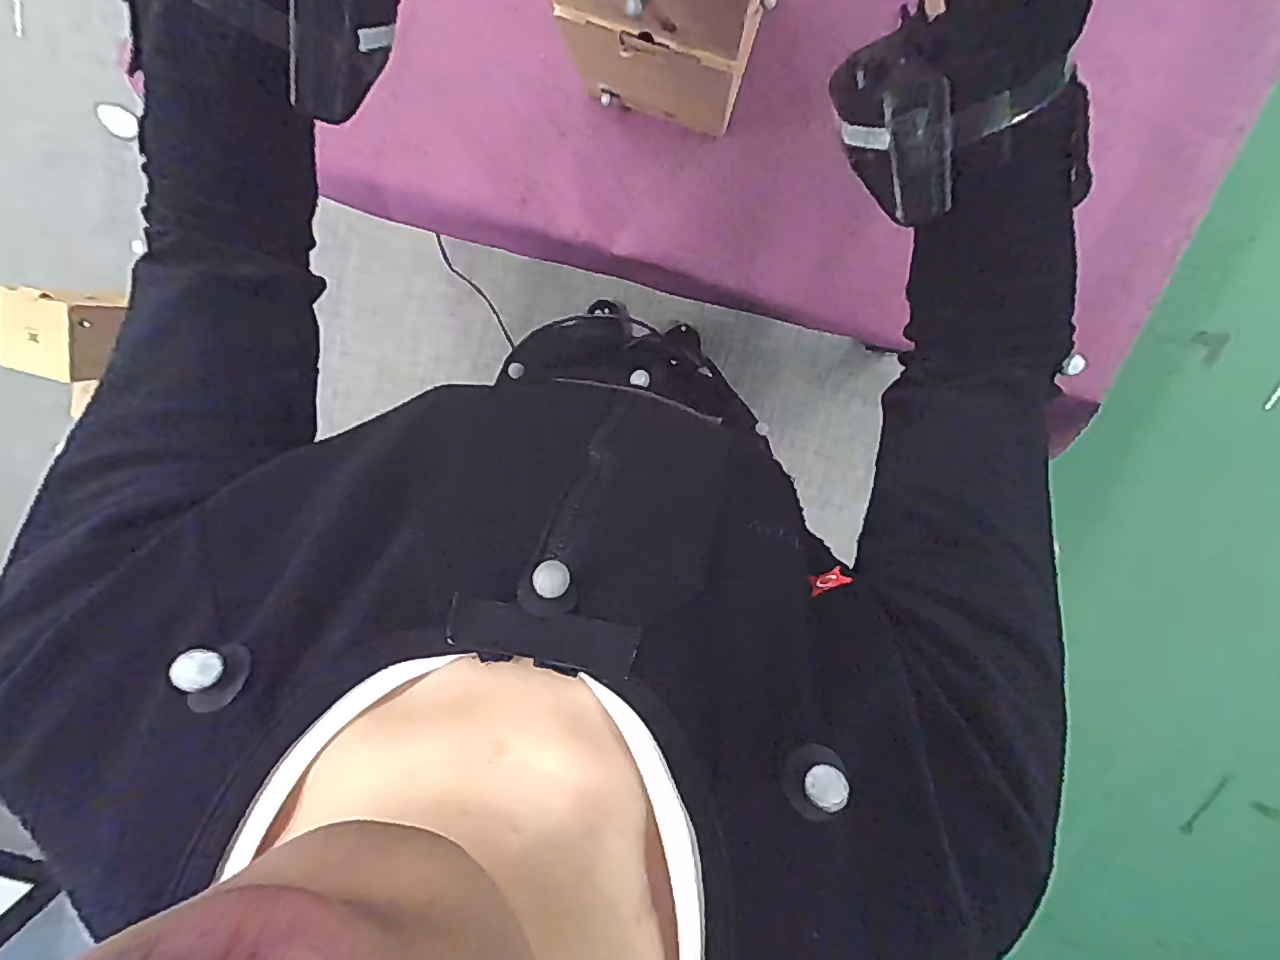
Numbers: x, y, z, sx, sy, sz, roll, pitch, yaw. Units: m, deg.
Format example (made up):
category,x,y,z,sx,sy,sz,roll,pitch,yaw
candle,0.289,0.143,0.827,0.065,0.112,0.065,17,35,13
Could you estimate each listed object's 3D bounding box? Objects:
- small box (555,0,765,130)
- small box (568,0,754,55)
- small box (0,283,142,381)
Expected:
category,x,y,z,sx,sy,sz,roll,pitch,yaw
small box,0.035,-0.475,0.518,0.168,0.176,0.179,18,105,-1
small box,0.024,-0.439,0.357,0.168,0.176,0.179,18,106,0
small box,-1.304,-0.339,1.247,0.168,0.176,0.179,15,105,0
